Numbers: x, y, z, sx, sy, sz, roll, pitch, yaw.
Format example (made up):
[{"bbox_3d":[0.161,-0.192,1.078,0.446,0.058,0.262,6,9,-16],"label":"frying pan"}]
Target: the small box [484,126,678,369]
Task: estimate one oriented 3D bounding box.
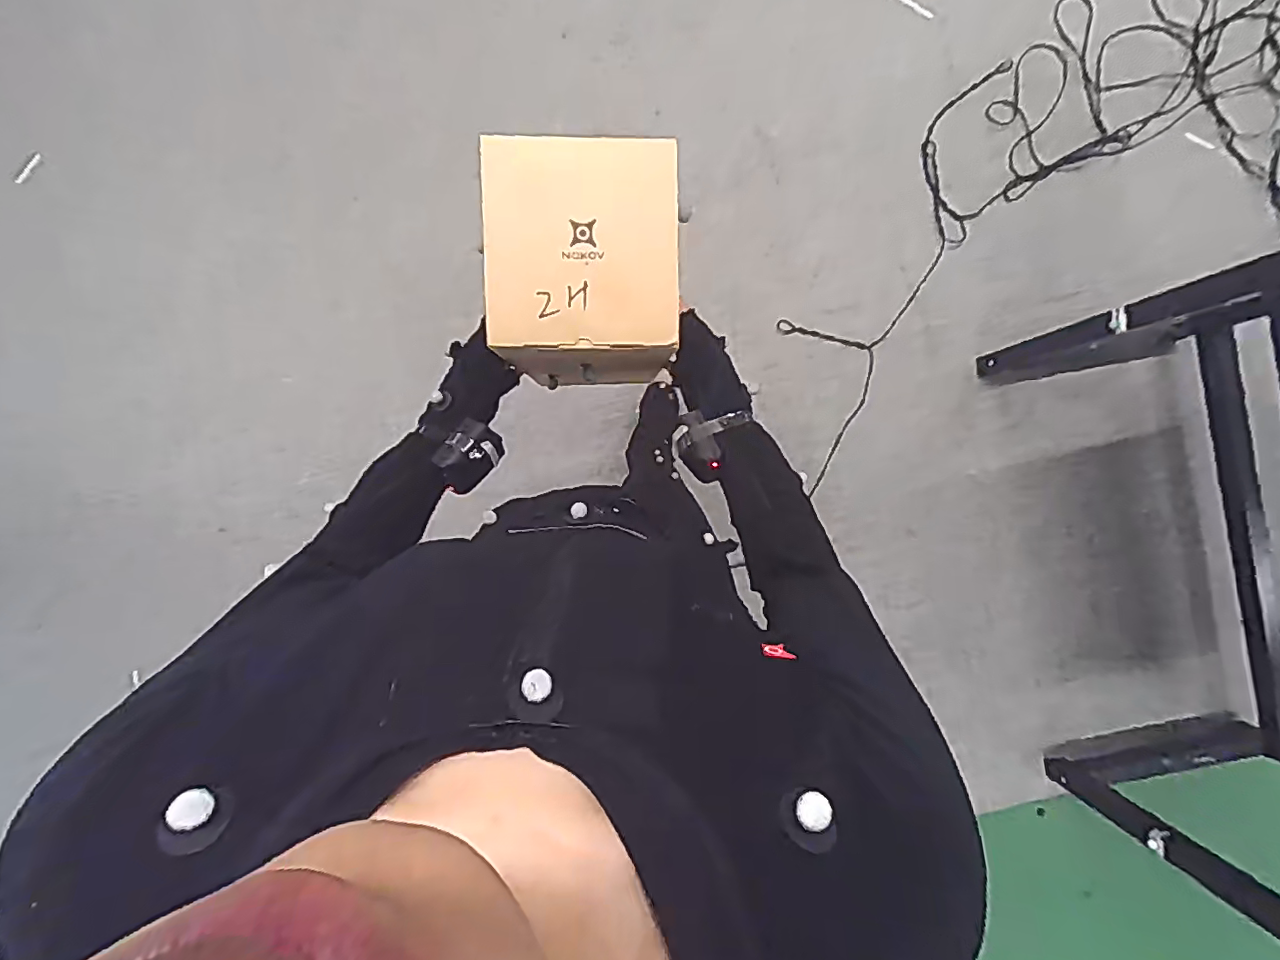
[{"bbox_3d":[-0.055,-0.212,0.537,0.168,0.176,0.179,0,94,-3],"label":"small box"}]
